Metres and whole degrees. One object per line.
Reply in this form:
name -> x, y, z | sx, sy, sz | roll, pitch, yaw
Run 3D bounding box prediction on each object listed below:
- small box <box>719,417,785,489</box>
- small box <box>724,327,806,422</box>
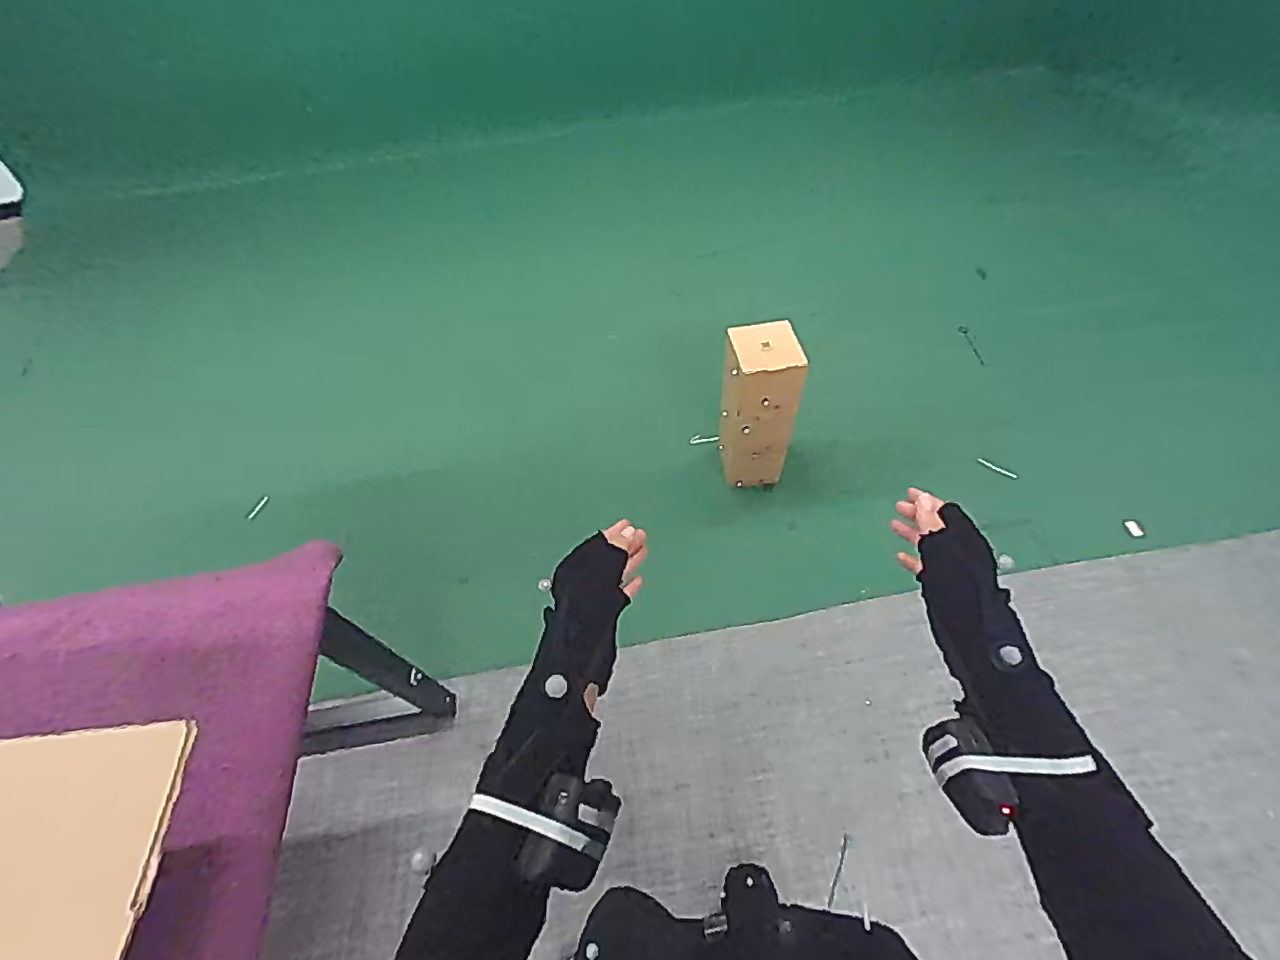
small box -> 0.349, -0.086, 1.713 | 0.168, 0.176, 0.179 | -7, 54, -1
small box -> 0.326, -0.281, 1.451 | 0.168, 0.176, 0.179 | -9, 54, -2
